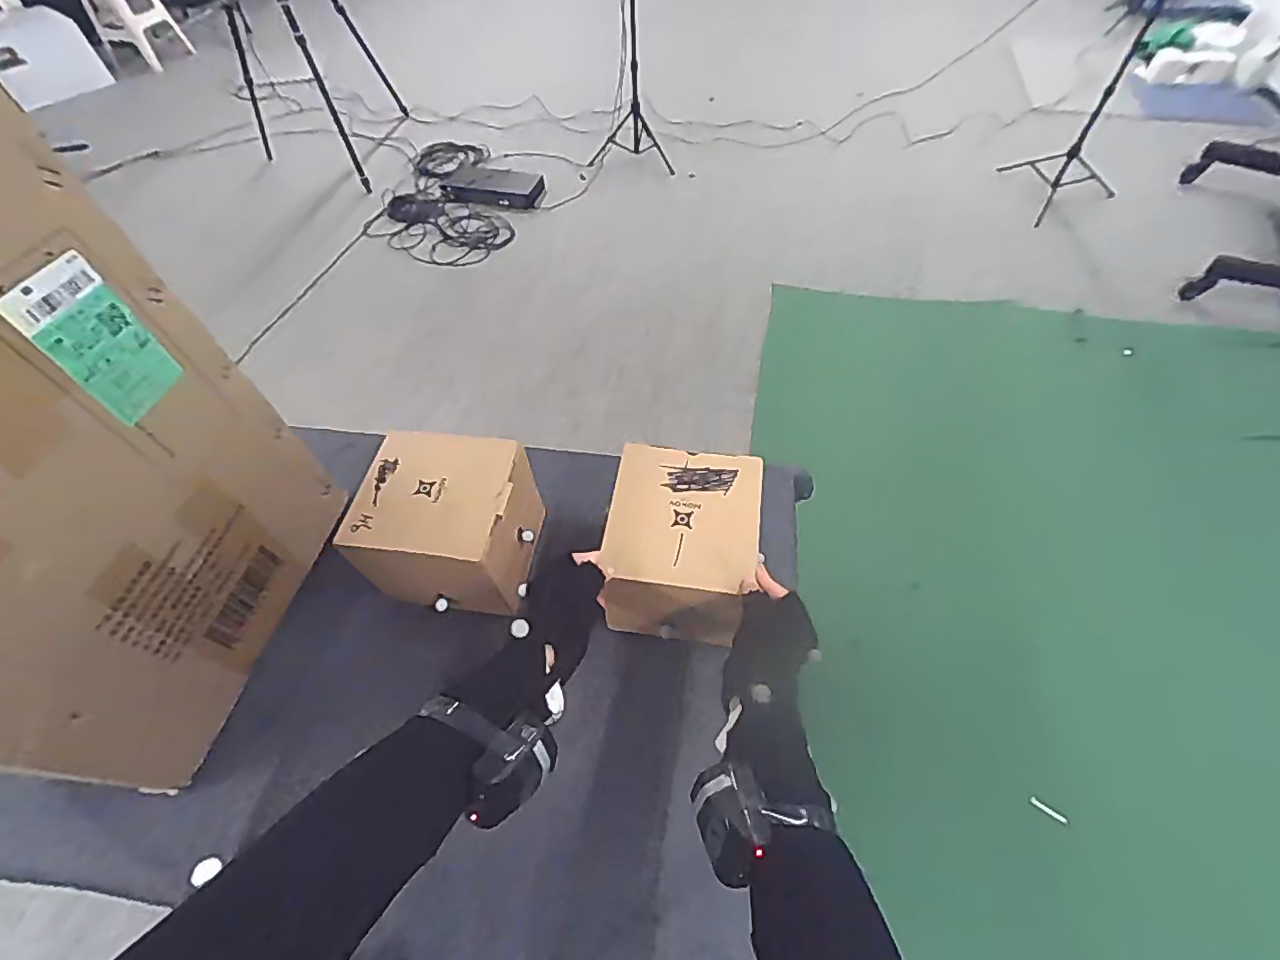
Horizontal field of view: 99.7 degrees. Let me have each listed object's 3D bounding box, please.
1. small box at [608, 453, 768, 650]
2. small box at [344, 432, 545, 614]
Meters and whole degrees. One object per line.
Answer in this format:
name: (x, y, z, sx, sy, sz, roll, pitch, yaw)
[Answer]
small box: (0.061, 0.091, 0.664, 0.168, 0.176, 0.179, 5, 57, 7)
small box: (-0.232, 0.061, 0.702, 0.179, 0.176, 0.168, 7, 55, 5)
